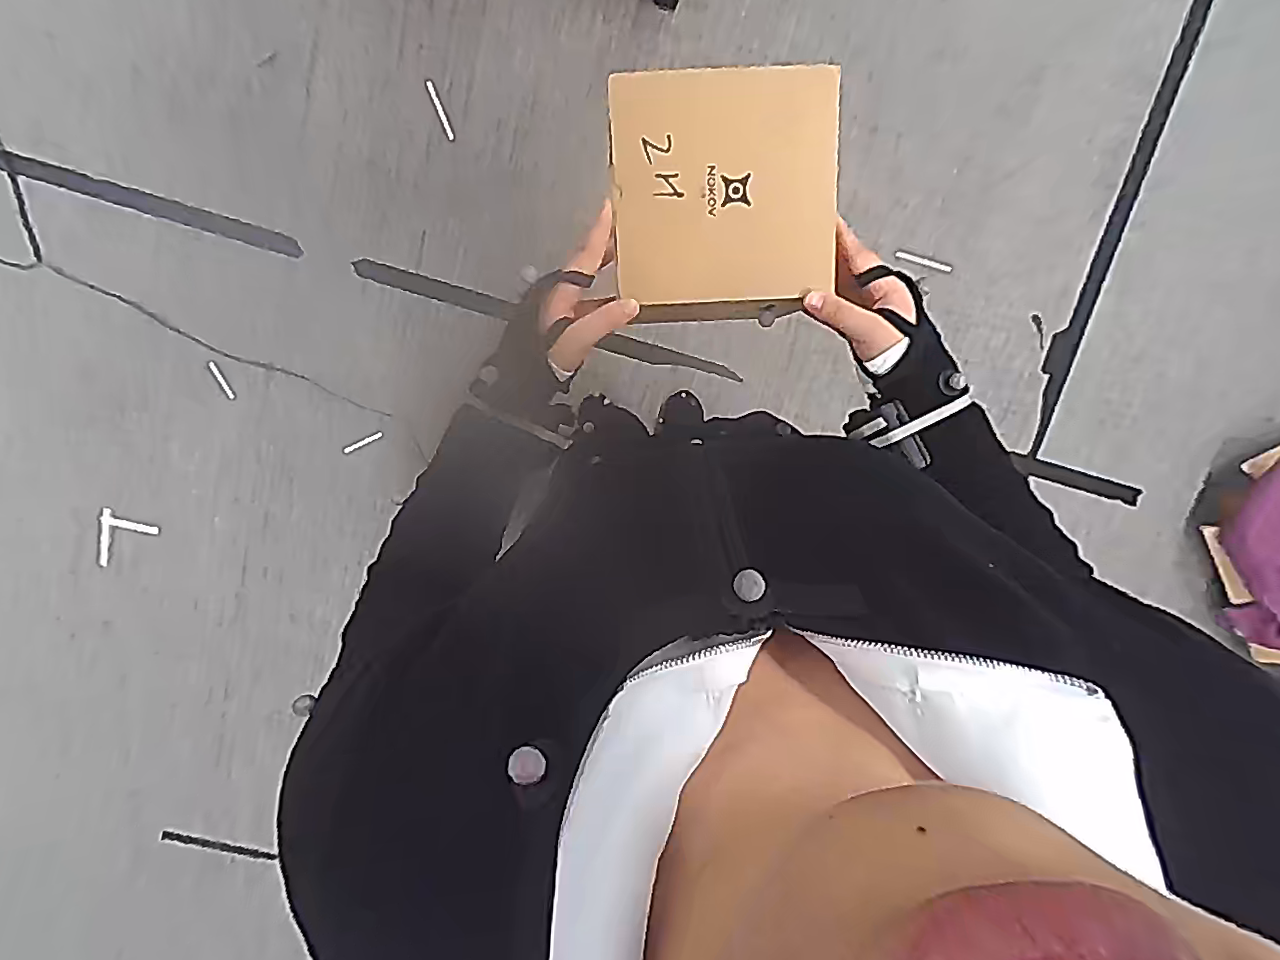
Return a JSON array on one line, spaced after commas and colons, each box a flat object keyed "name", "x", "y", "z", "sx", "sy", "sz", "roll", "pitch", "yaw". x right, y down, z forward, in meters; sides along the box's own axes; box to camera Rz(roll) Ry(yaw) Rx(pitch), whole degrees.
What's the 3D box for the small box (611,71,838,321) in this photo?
[{"name": "small box", "x": 0.065, "y": -0.242, "z": 0.501, "sx": 0.179, "sy": 0.176, "sz": 0.168, "roll": -2, "pitch": 101, "yaw": 0}]
